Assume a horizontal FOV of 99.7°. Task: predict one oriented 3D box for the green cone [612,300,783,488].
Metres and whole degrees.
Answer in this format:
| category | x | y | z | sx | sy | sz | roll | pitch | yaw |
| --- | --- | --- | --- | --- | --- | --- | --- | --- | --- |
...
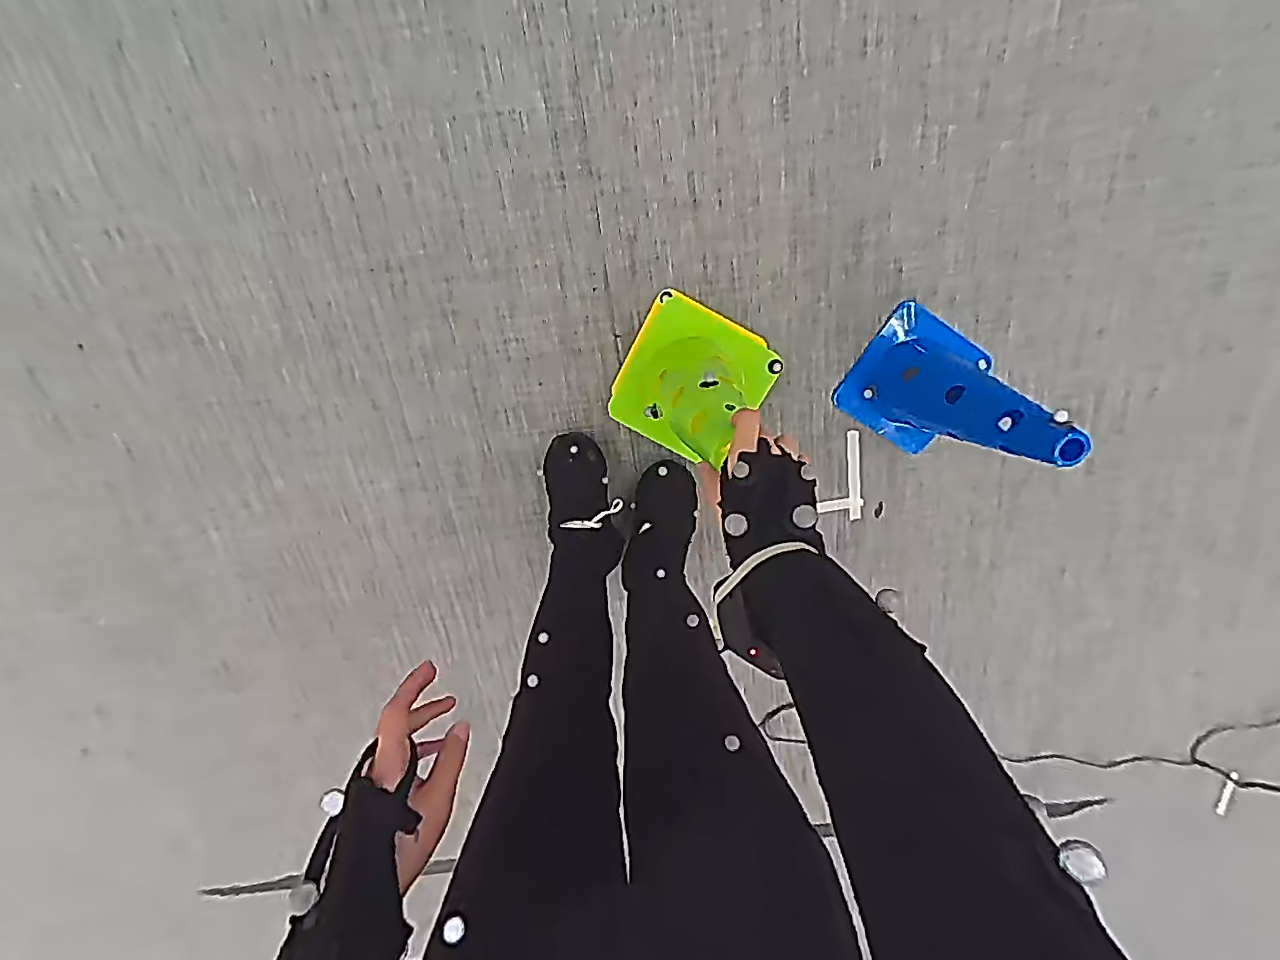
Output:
| category | x | y | z | sx | sy | sz | roll | pitch | yaw |
| --- | --- | --- | --- | --- | --- | --- | --- | --- | --- |
| green cone | 0.080 | -0.077 | 0.636 | 0.200 | 0.368 | 0.202 | 27 | 108 | -8 |
